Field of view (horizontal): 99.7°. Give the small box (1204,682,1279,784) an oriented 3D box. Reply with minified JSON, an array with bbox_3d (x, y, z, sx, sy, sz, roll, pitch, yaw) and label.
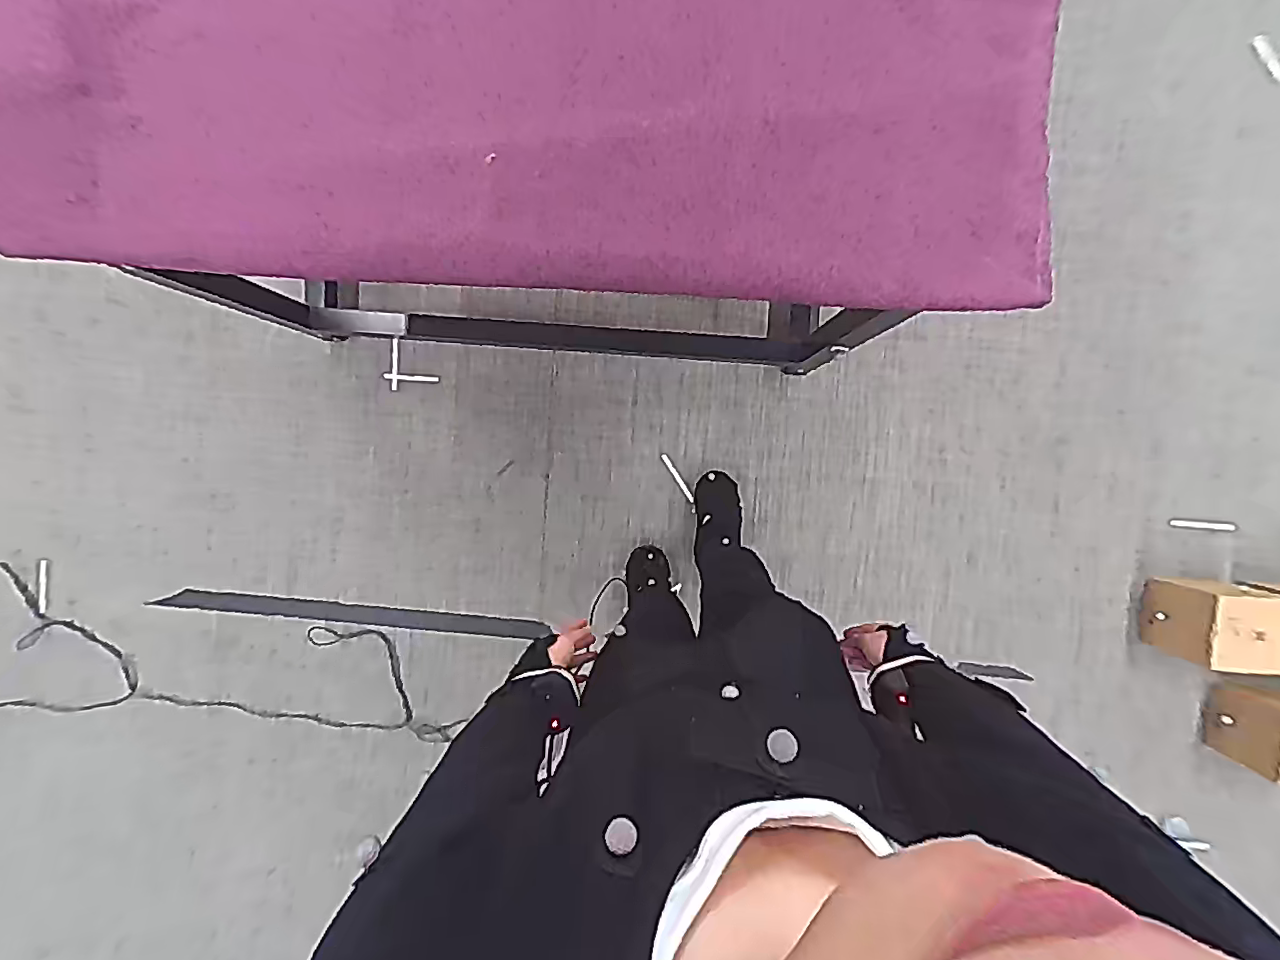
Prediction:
[{"bbox_3d":[1.479,0.583,1.241,0.179,0.176,0.168,7,93,2],"label":"small box"}]

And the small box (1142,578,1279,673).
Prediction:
[{"bbox_3d":[1.312,0.323,1.230,0.179,0.176,0.168,3,93,1],"label":"small box"}]
